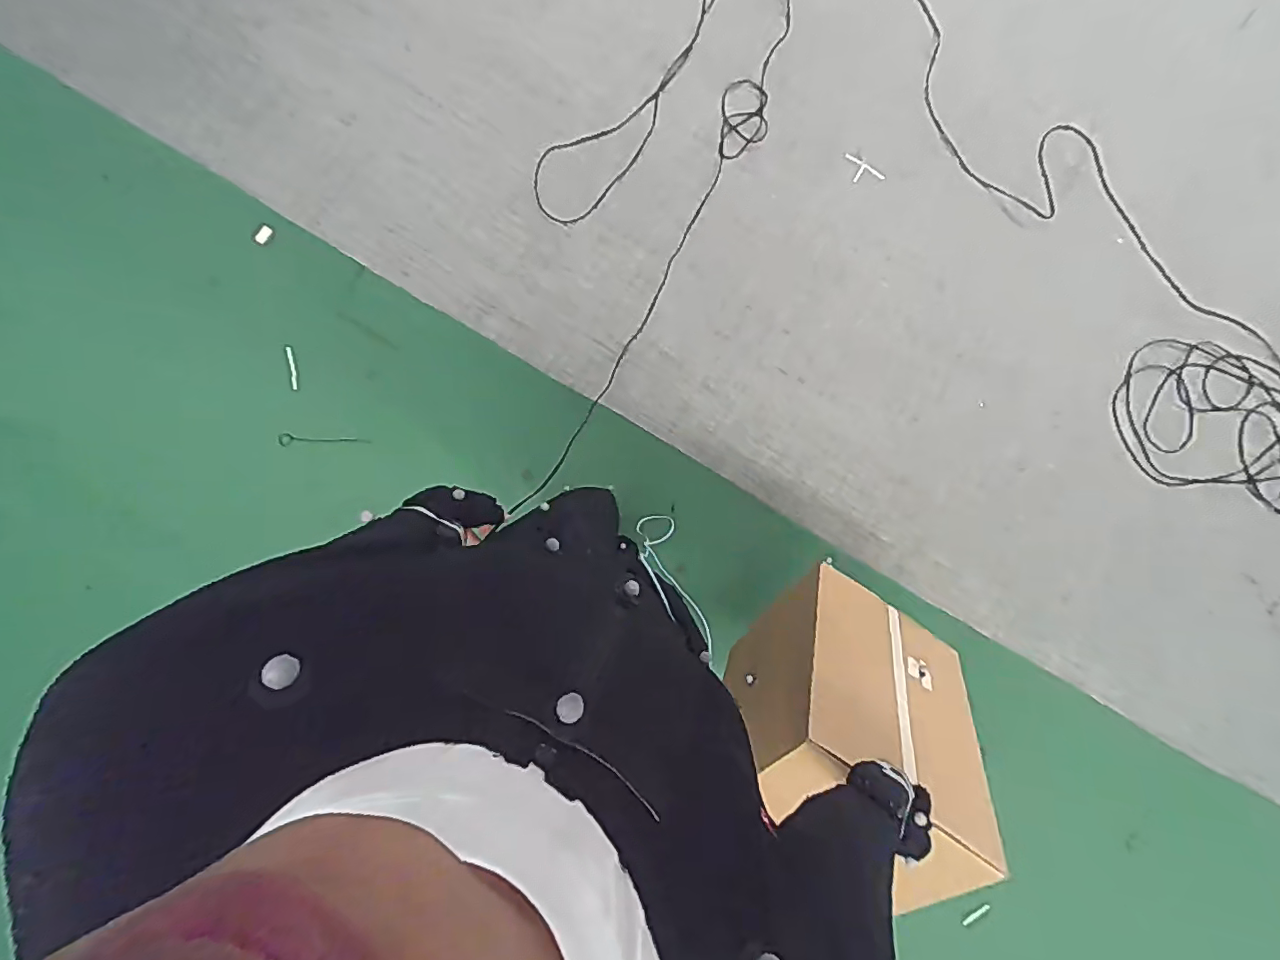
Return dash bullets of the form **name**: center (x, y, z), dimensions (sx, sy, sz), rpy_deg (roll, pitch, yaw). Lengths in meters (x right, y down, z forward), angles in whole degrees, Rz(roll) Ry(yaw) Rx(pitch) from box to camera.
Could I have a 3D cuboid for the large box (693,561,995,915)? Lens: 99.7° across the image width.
- **large box**: center (0.333, 0.432, 0.956), dimensions (0.320, 0.408, 0.320), rpy_deg (35, 123, 1)
